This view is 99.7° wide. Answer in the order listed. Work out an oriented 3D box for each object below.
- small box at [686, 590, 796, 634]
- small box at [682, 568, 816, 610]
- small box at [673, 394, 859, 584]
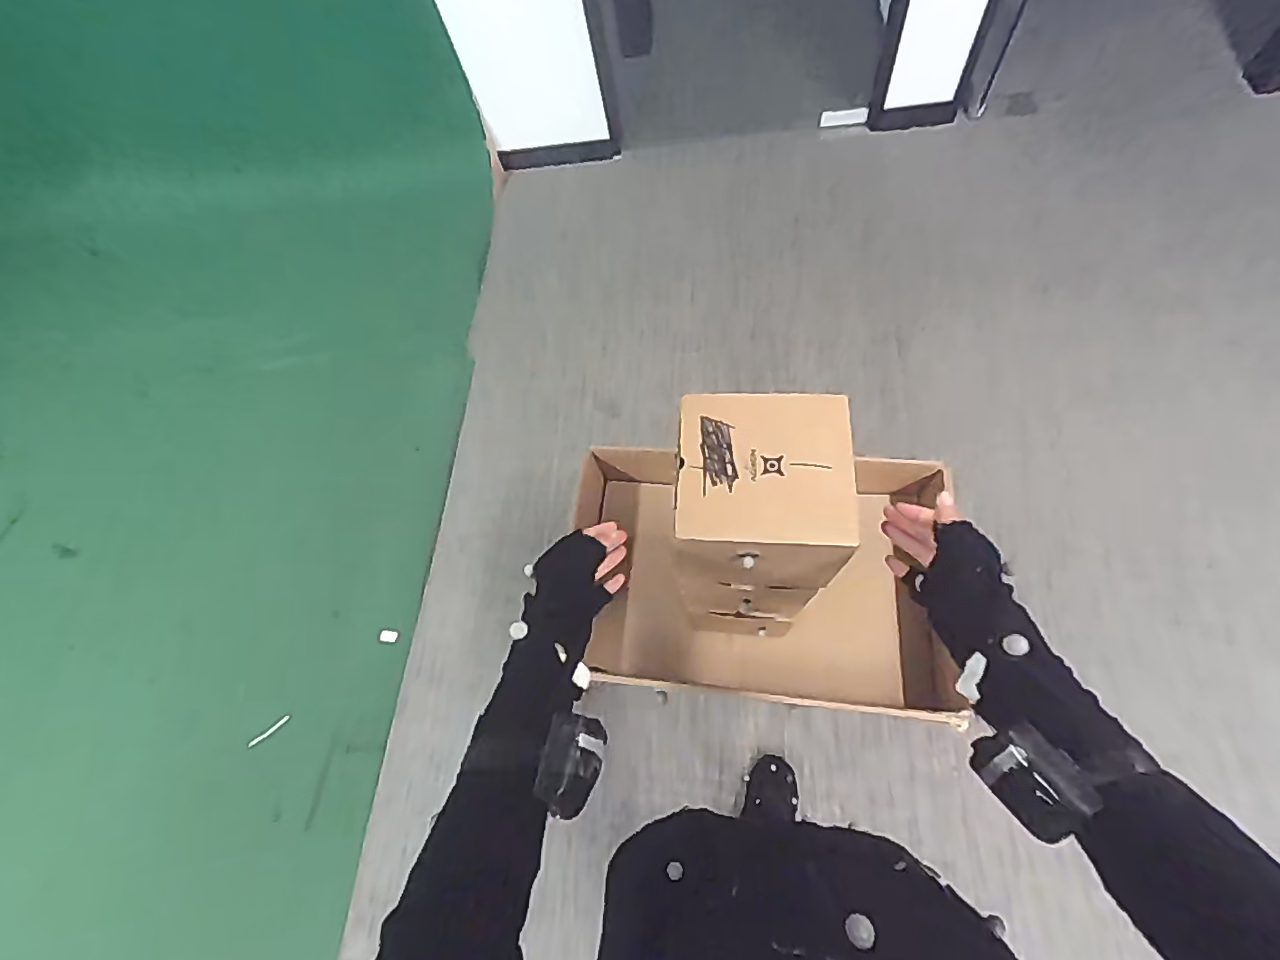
[{"bbox_3d":[0.170,0.156,0.913,0.168,0.176,0.179,3,65,8],"label":"small box"},{"bbox_3d":[0.152,0.082,0.768,0.168,0.176,0.179,3,67,8],"label":"small box"},{"bbox_3d":[0.134,0.017,0.616,0.179,0.176,0.168,2,66,7],"label":"small box"}]
